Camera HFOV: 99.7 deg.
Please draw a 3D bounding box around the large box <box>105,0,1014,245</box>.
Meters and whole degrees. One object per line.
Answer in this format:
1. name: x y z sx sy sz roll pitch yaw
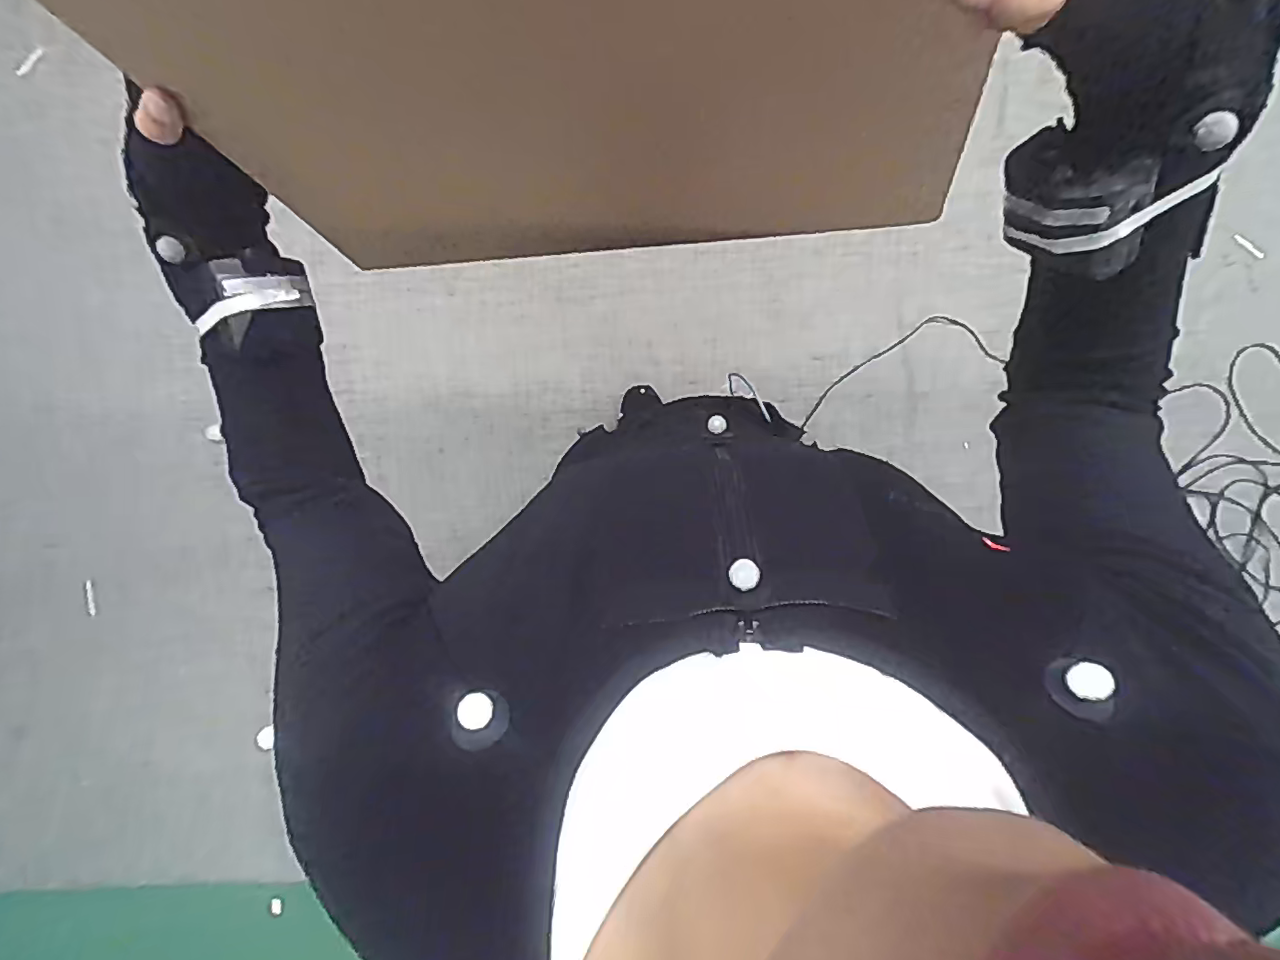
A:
1. large box: -0.039 -0.352 0.257 0.408 0.320 0.320 3 77 16
